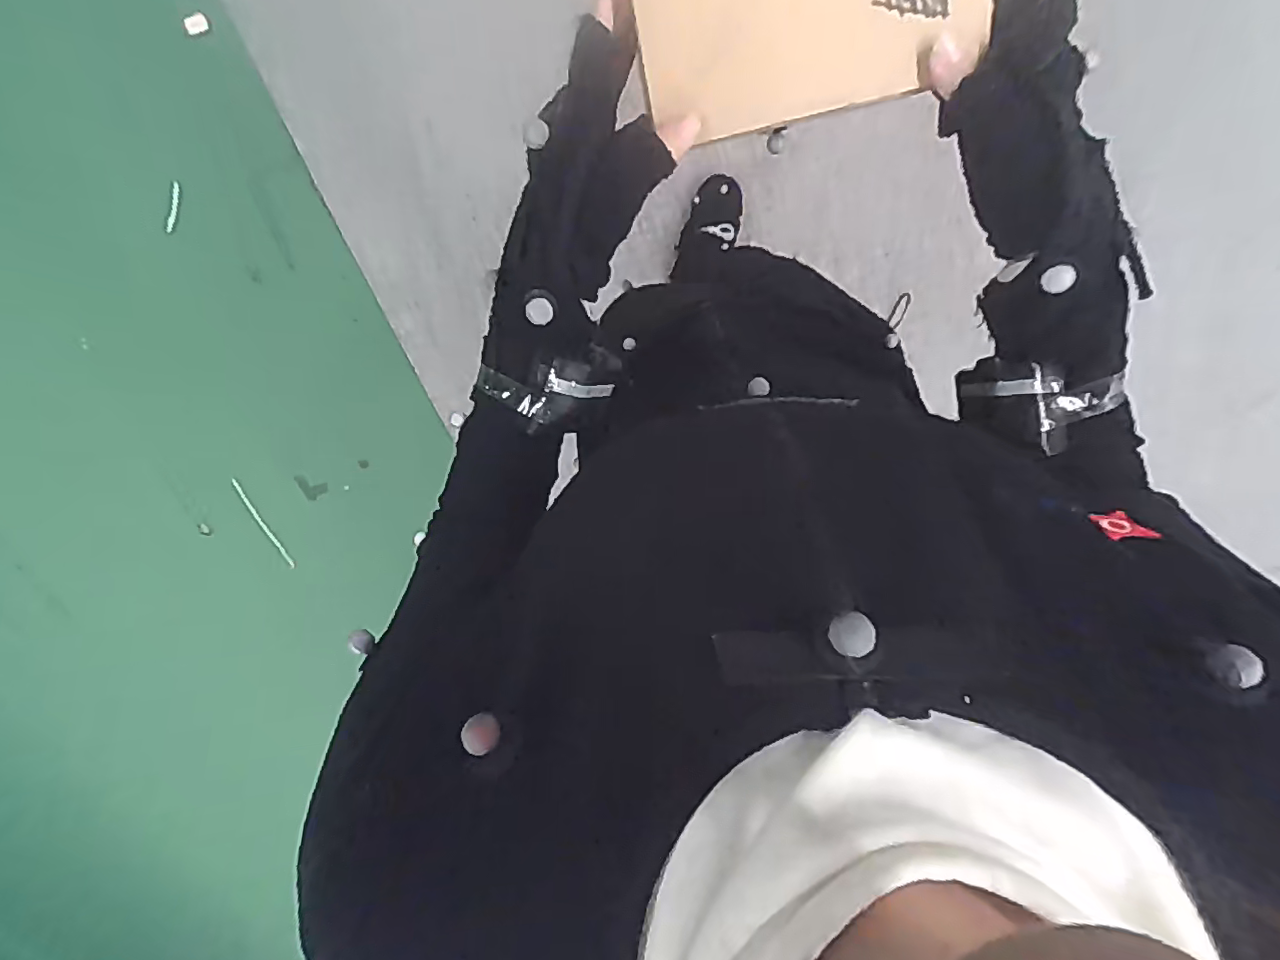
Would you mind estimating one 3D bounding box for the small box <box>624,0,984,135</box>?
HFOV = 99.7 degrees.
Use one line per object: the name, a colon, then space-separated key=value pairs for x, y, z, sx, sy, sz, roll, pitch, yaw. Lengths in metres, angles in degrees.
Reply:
small box: x=0.076 y=-0.313 z=0.314 sx=0.179 sy=0.176 sz=0.168 roll=-7 pitch=119 yaw=5
